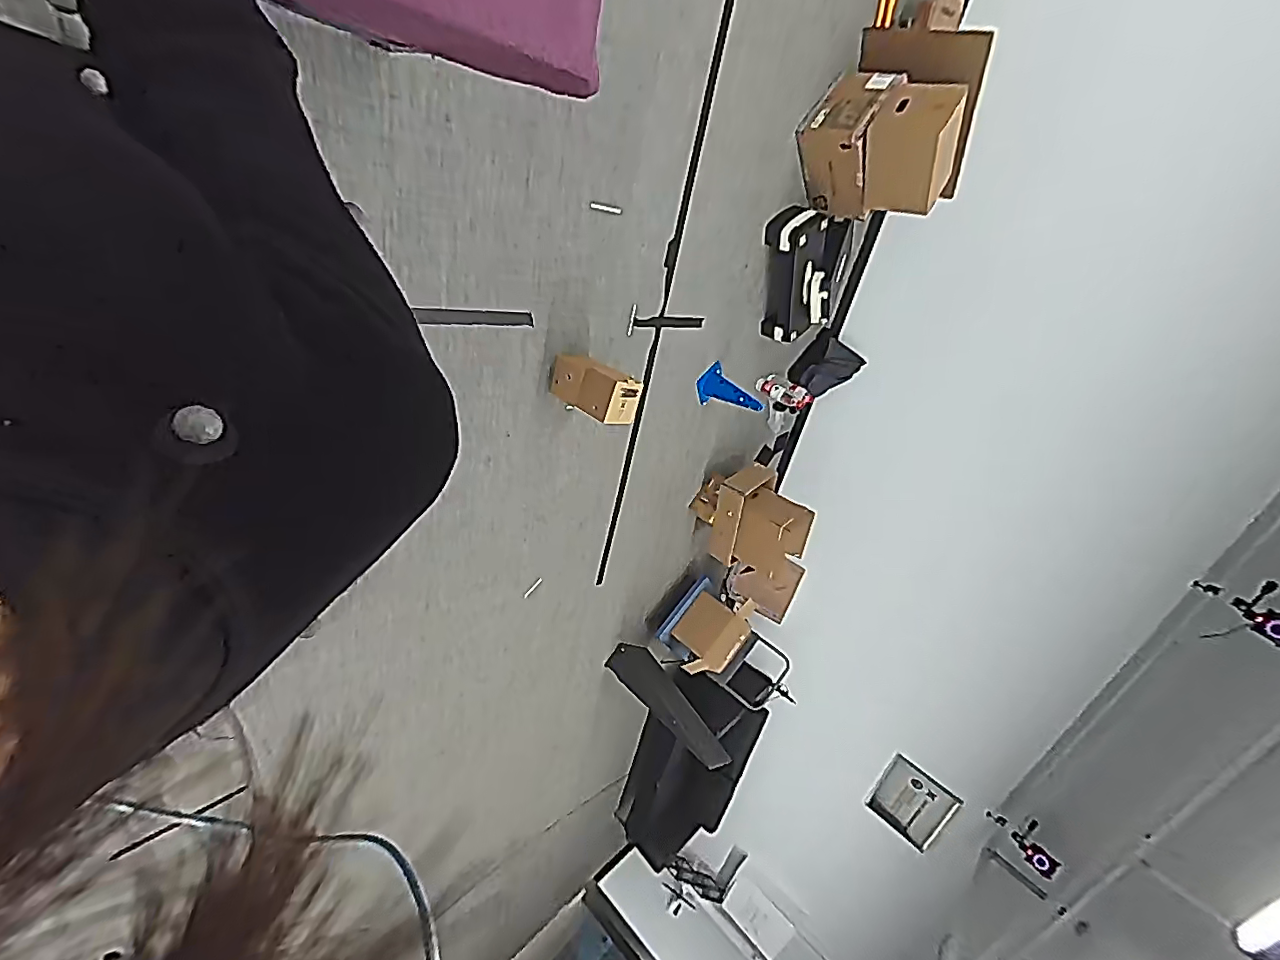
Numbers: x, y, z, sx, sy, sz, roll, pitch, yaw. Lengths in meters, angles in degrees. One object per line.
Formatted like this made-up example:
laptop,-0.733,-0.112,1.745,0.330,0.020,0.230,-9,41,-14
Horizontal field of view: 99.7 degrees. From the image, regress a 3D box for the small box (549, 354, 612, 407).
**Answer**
small box,-0.247,-0.410,2.217,0.179,0.176,0.168,-13,128,-48
